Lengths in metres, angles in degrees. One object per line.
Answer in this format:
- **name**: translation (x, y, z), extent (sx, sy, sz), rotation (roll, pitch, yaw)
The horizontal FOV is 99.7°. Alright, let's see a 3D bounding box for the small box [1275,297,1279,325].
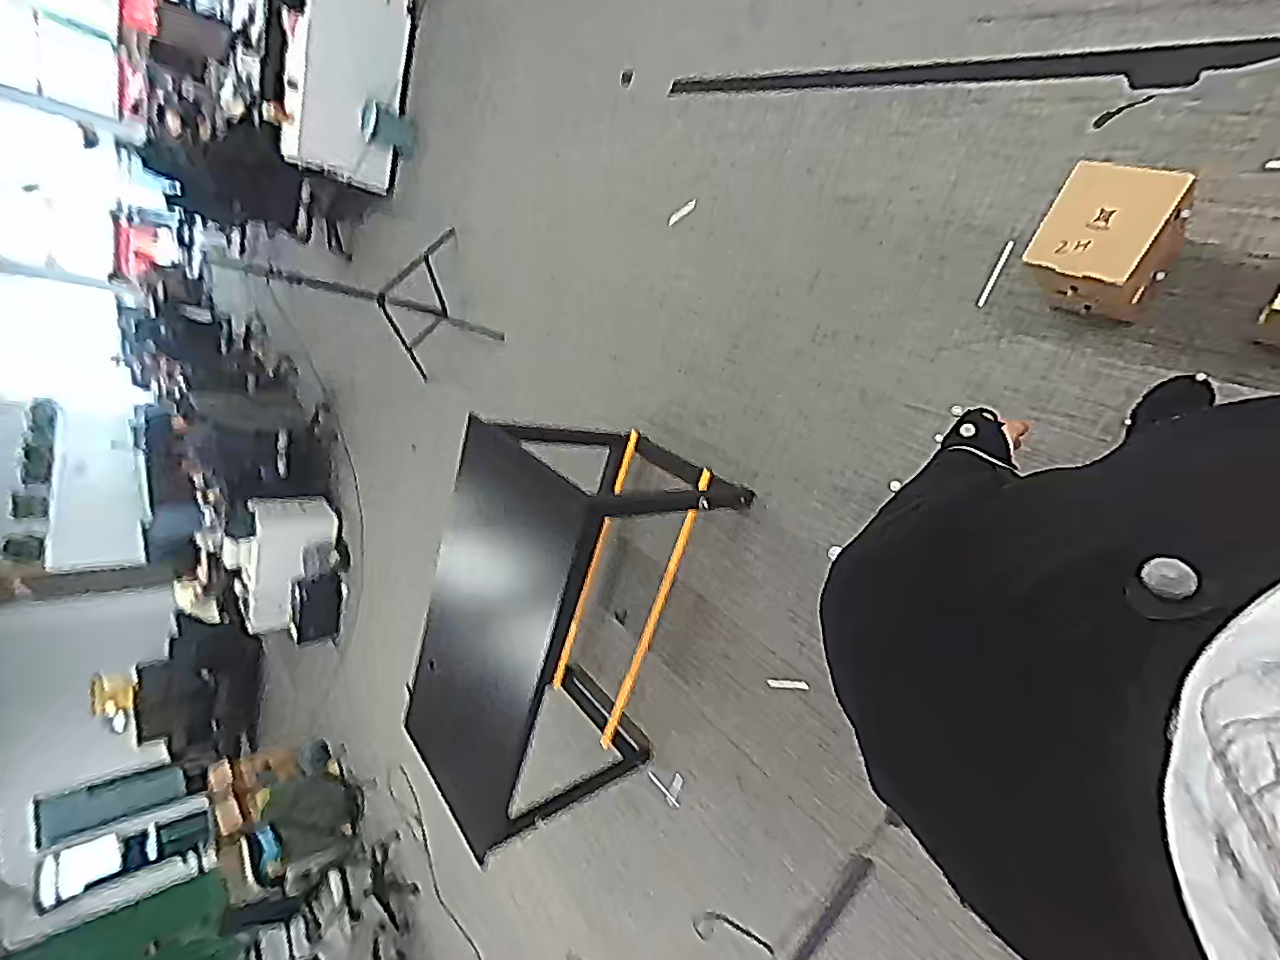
- **small box**: translation (1.056, -0.305, 0.760), extent (0.168, 0.176, 0.179), rotation (32, 114, 41)

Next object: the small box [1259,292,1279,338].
- **small box**: translation (1.173, -0.304, 0.873), extent (0.179, 0.176, 0.168), rotation (36, 116, 37)

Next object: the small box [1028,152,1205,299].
- **small box**: translation (0.839, -0.446, 0.962), extent (0.168, 0.176, 0.179), rotation (39, 118, 37)

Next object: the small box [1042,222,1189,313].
- **small box**: translation (0.954, -0.447, 1.083), extent (0.168, 0.176, 0.179), rotation (33, 114, 39)
